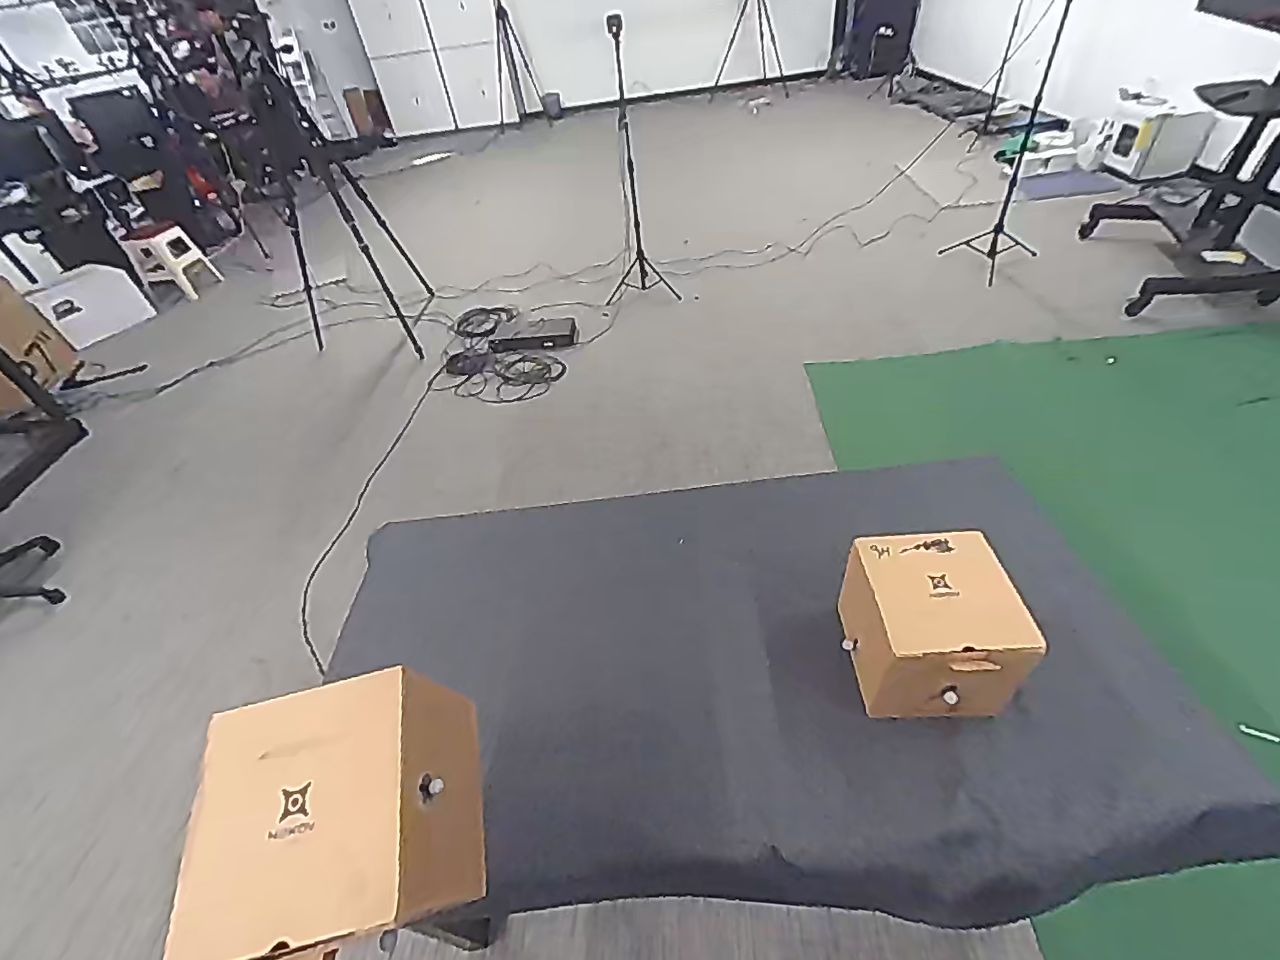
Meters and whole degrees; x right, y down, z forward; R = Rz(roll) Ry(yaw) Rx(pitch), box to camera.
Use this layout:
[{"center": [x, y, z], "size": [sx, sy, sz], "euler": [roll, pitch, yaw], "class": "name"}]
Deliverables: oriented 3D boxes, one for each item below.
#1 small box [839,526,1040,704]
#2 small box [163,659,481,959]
[{"center": [0.375, 0.184, 0.718], "size": [0.168, 0.176, 0.179], "euler": [-4, 45, 6], "class": "small box"}, {"center": [-0.248, 0.279, 0.472], "size": [0.168, 0.176, 0.179], "euler": [-14, 57, -2], "class": "small box"}]
